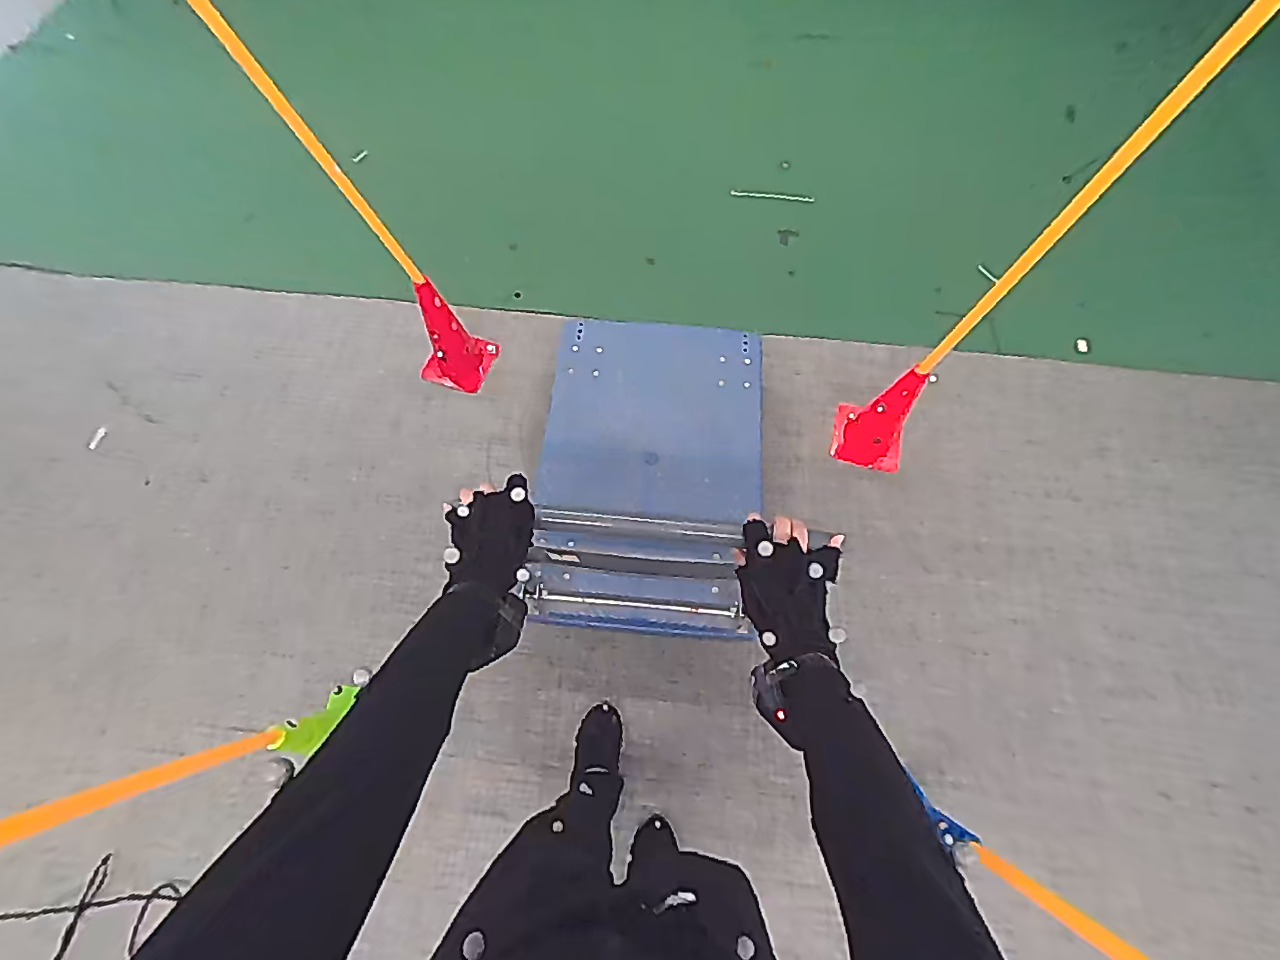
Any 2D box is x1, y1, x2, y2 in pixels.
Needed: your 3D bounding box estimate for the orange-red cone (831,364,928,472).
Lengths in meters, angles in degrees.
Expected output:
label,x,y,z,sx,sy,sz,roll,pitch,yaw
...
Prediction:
label,x,y,z,sx,sy,sz,roll,pitch,yaw
orange-red cone,0.682,-0.195,1.464,0.198,0.360,0.199,16,68,8
